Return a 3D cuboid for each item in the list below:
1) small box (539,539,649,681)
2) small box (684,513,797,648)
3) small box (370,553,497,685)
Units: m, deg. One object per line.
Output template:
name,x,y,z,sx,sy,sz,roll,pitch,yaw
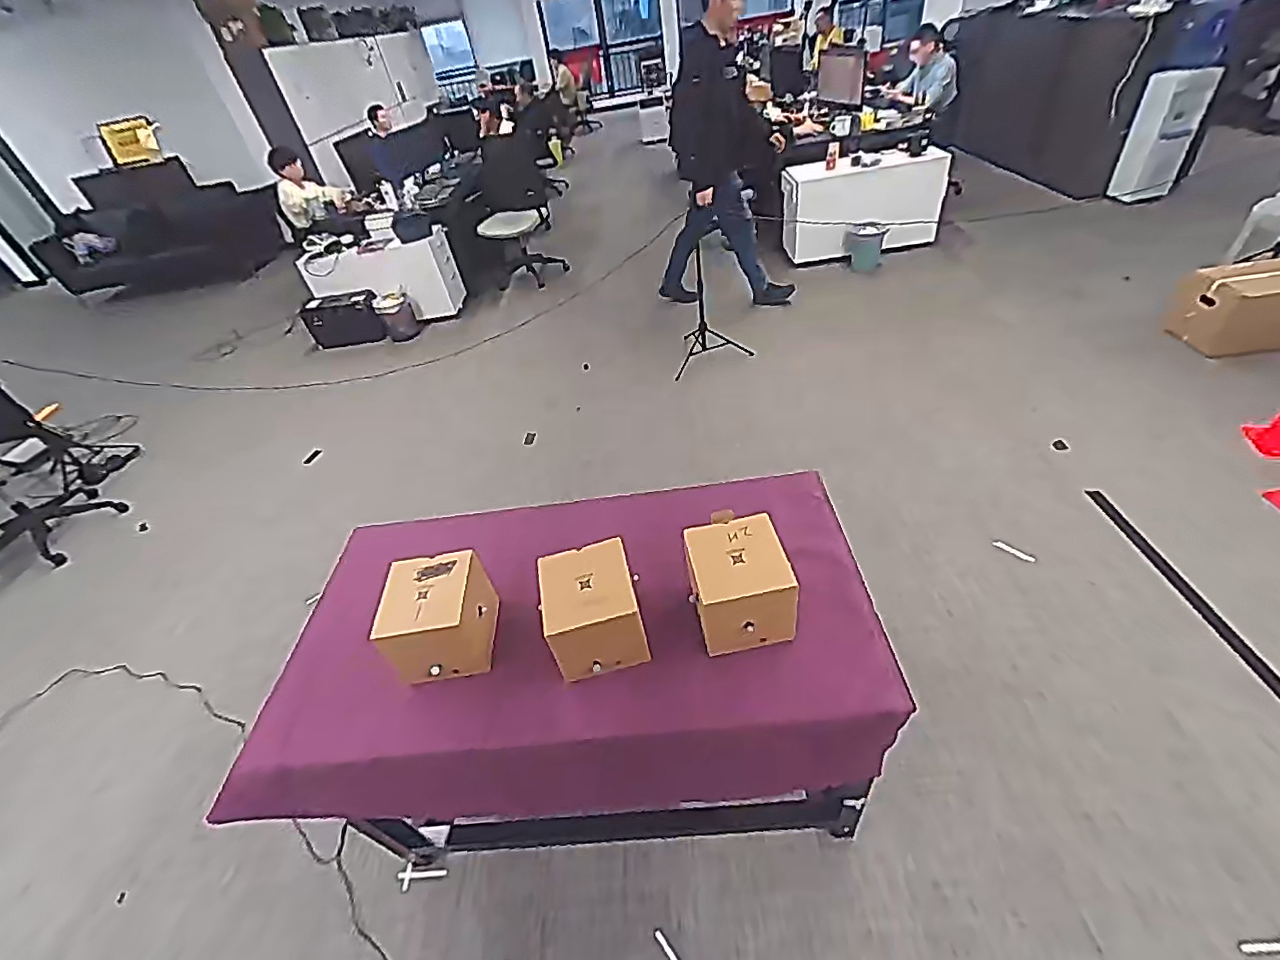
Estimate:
small box,-0.087,0.245,1.018,0.168,0.176,0.179,-15,41,-2
small box,0.185,0.193,1.010,0.168,0.176,0.179,-12,41,0
small box,-0.389,0.271,1.058,0.168,0.176,0.179,-10,42,2
